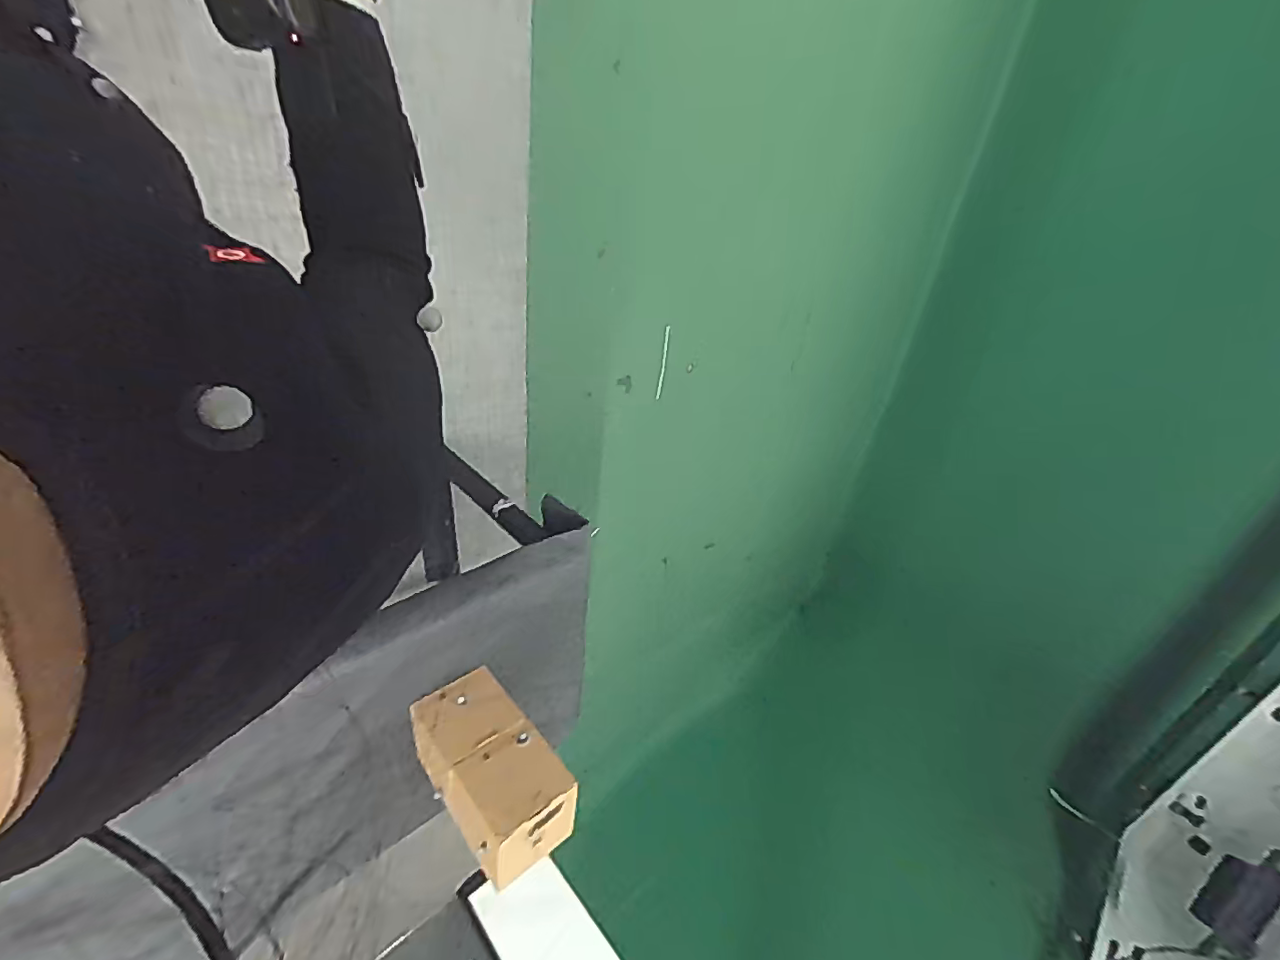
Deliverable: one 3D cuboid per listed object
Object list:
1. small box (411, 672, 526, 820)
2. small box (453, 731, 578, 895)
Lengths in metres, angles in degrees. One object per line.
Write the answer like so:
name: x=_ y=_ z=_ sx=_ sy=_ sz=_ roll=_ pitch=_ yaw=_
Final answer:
small box: x=-0.351 y=0.536 z=1.110 sx=0.168 sy=0.176 sz=0.179 roll=-22 pitch=131 yaw=-40
small box: x=-0.238 y=0.609 z=1.017 sx=0.168 sy=0.176 sz=0.179 roll=-19 pitch=130 yaw=-40
